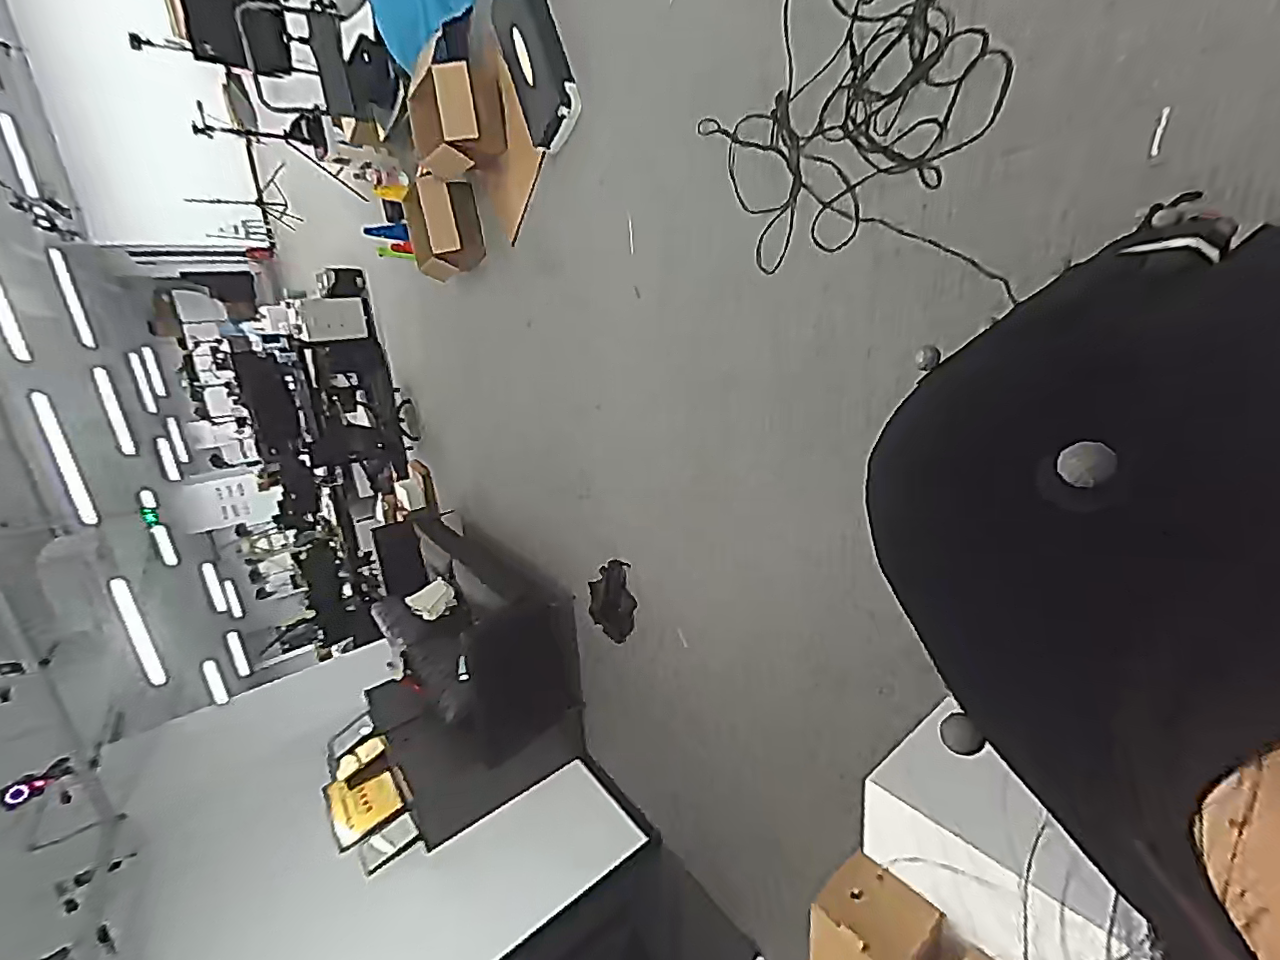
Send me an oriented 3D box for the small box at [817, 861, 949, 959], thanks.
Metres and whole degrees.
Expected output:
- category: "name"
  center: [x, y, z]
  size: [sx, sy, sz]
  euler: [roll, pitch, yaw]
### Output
- category: "small box"
  center: [0.448, 0.866, 0.999]
  size: [0.168, 0.176, 0.179]
  euler: [15, 117, 51]
